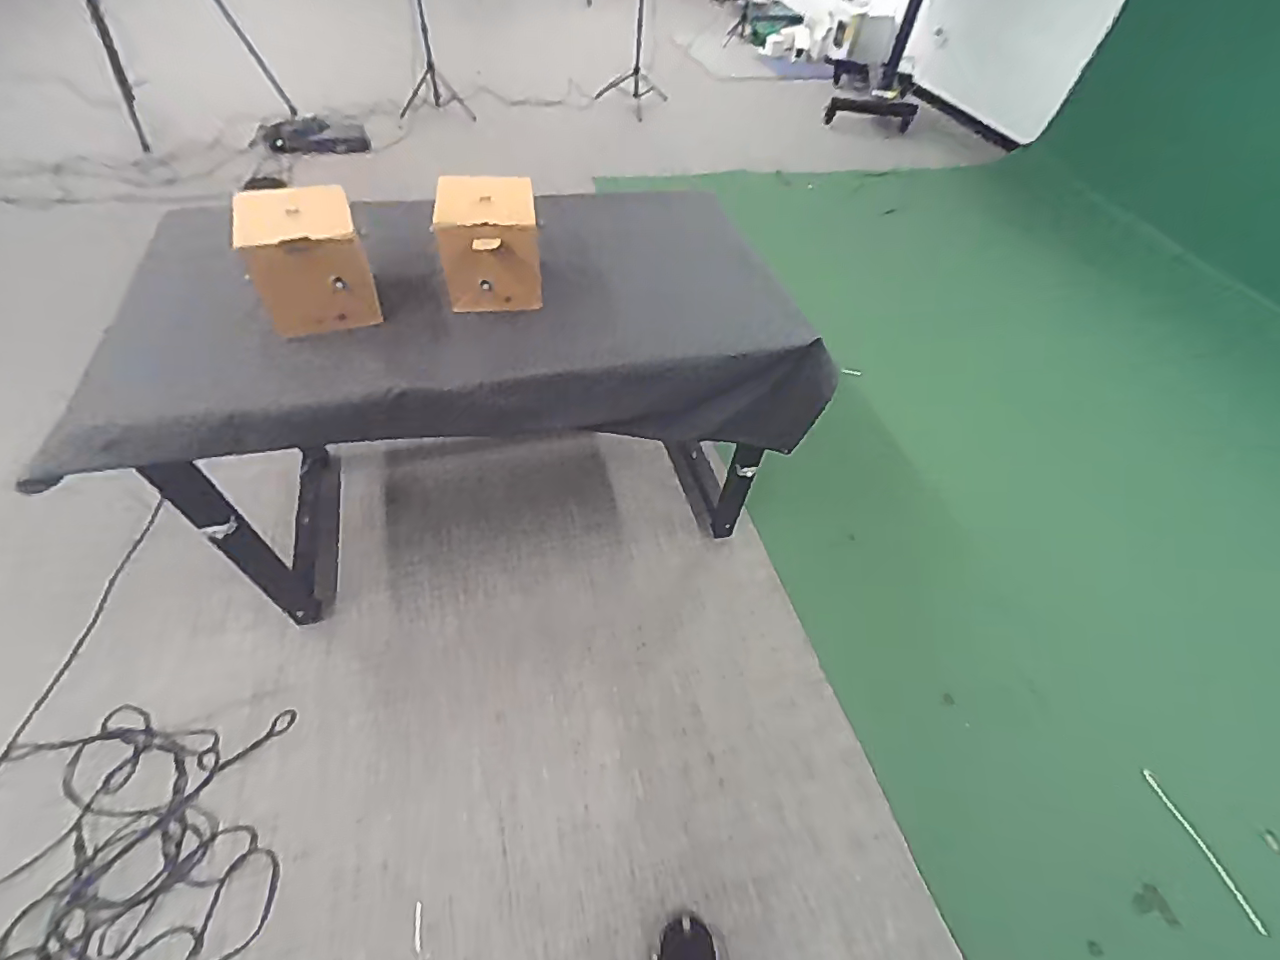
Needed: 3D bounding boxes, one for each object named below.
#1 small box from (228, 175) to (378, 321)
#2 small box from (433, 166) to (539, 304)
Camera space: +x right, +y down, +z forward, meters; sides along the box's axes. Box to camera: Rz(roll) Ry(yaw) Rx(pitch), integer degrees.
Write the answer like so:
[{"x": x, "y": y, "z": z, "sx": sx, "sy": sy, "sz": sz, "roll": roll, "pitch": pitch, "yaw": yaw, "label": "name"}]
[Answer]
[{"x": -0.553, "y": -0.381, "z": 0.903, "sx": 0.168, "sy": 0.176, "sz": 0.179, "roll": -15, "pitch": 54, "yaw": -20, "label": "small box"}, {"x": -0.273, "y": -0.444, "z": 0.986, "sx": 0.168, "sy": 0.176, "sz": 0.179, "roll": -4, "pitch": 53, "yaw": -11, "label": "small box"}]
